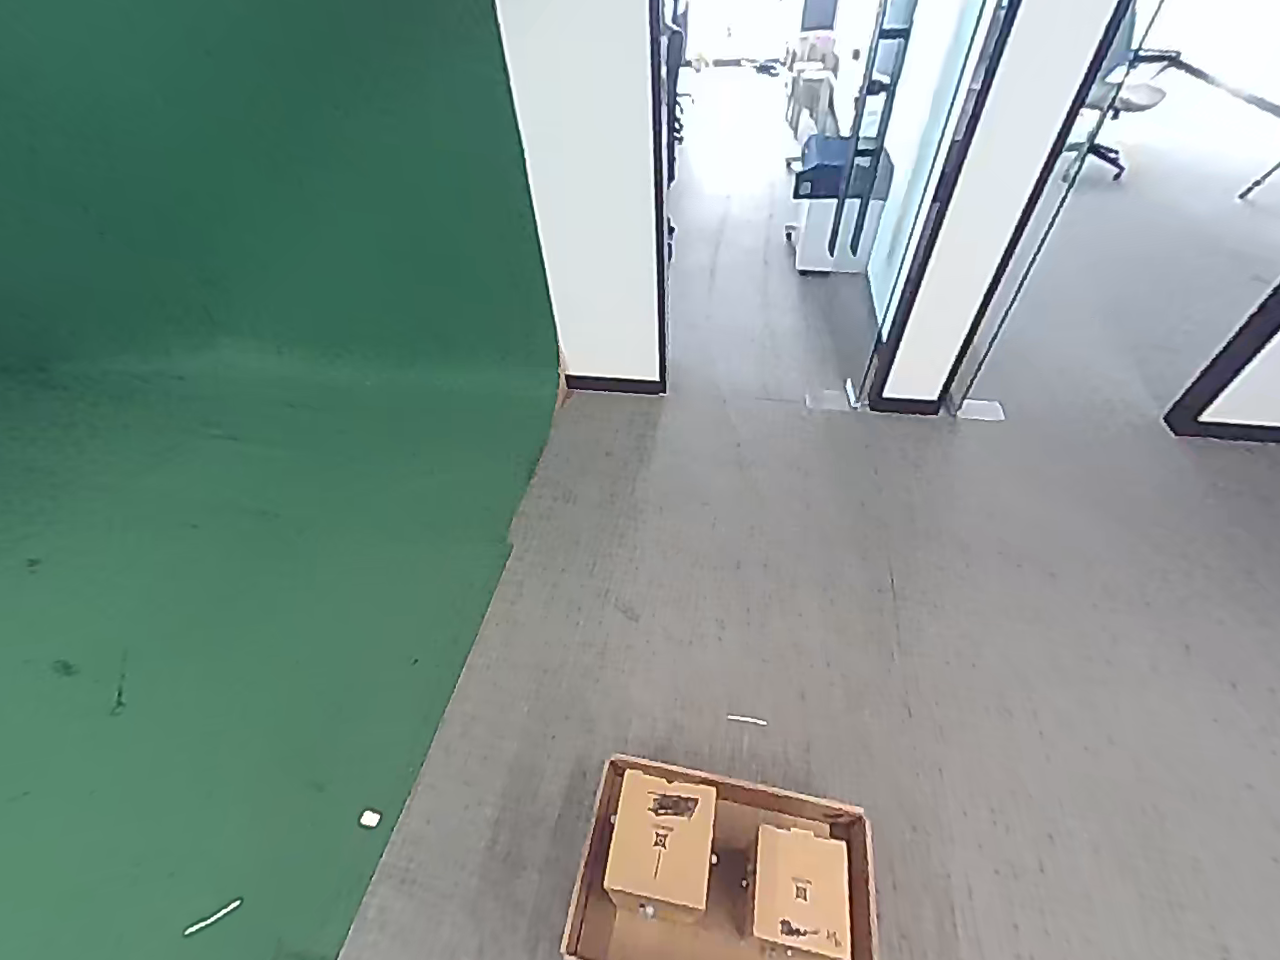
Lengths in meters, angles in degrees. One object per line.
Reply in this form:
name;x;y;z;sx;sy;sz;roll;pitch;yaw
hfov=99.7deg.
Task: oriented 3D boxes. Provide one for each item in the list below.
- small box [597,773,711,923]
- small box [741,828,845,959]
small box;0.028;0.651;0.956;0.168;0.176;0.179;8;49;9
small box;0.286;0.799;1.029;0.168;0.176;0.179;7;47;11
